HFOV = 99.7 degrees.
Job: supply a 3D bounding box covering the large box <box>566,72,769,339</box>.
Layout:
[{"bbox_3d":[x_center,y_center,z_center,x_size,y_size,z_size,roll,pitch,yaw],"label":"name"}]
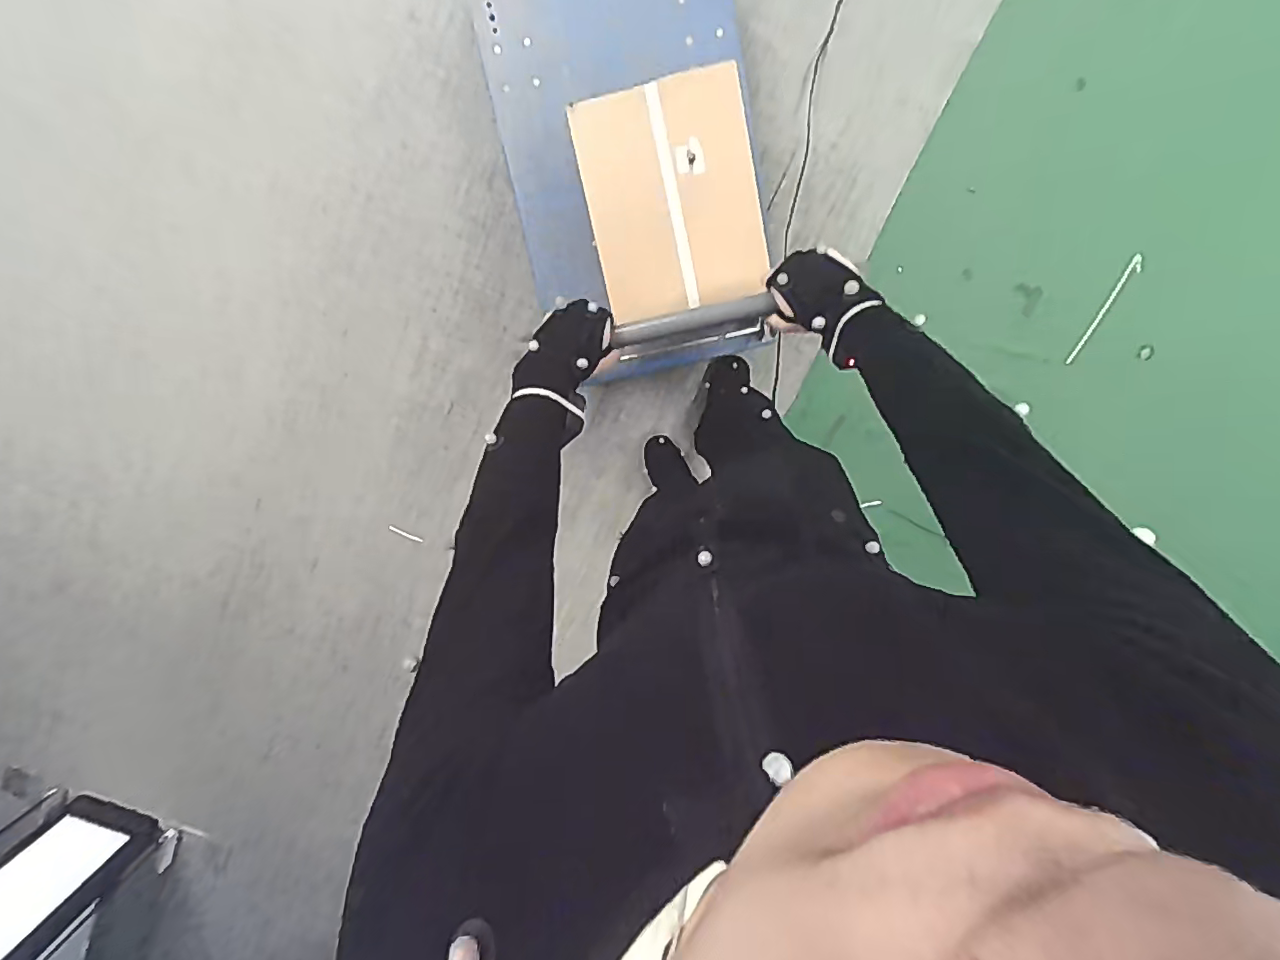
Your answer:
[{"bbox_3d":[0.063,-0.546,1.170,0.320,0.320,0.408,-12,101,4],"label":"large box"}]
